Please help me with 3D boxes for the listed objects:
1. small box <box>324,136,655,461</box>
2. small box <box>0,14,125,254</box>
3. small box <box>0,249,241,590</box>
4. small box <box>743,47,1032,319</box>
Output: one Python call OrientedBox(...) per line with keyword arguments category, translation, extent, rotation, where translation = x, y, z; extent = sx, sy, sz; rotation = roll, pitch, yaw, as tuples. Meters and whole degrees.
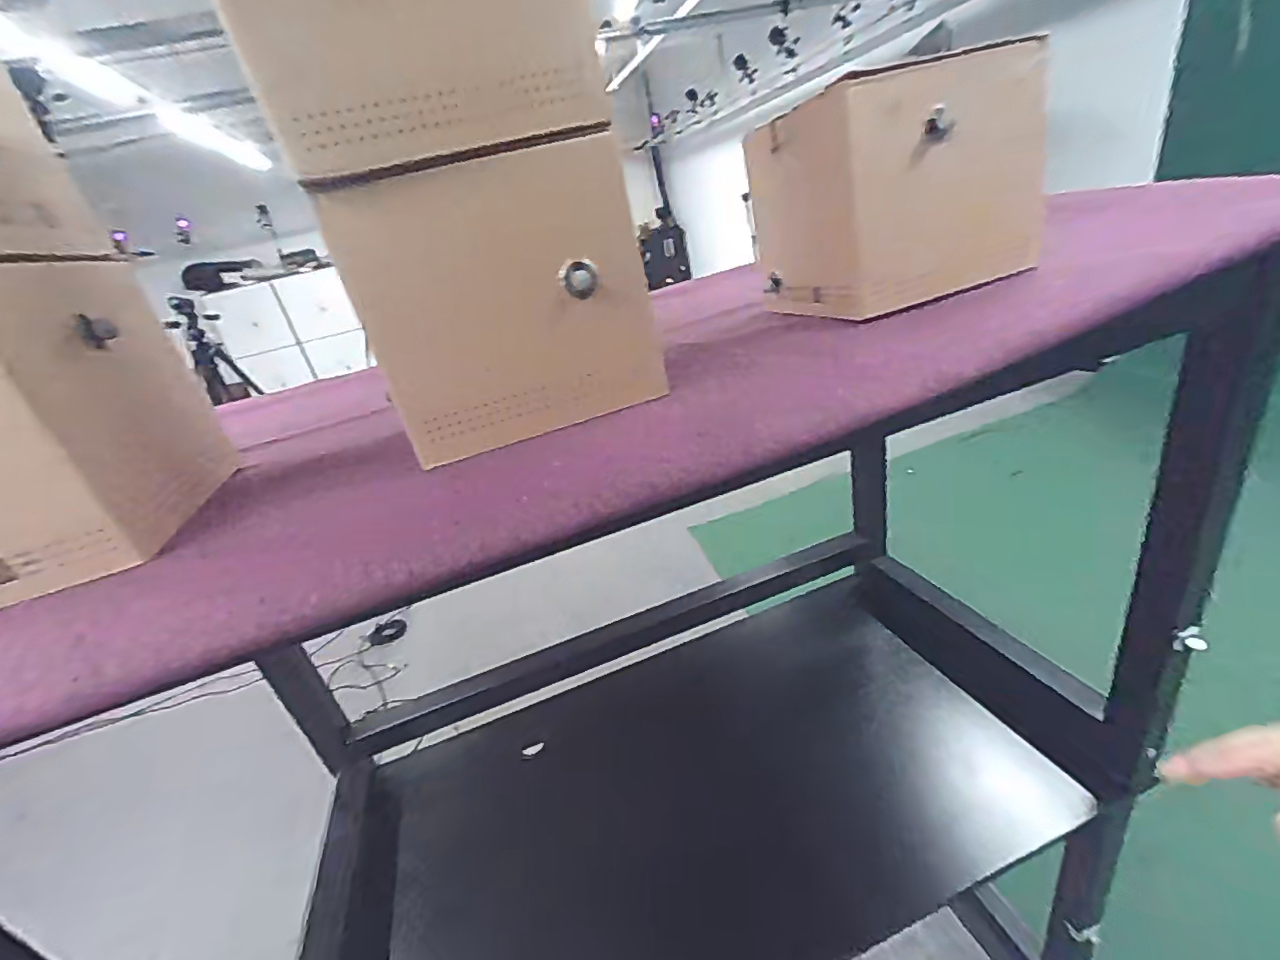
OrientedBox(category="small box", translation=(-0.098, -0.135, 0.410), extent=(0.179, 0.176, 0.168), rotation=(-20, 25, -12))
OrientedBox(category="small box", translation=(-0.431, -0.179, 0.266), extent=(0.179, 0.176, 0.168), rotation=(-19, 27, -15))
OrientedBox(category="small box", translation=(-0.395, -0.037, 0.338), extent=(0.168, 0.176, 0.179), rotation=(-17, 25, -13))
OrientedBox(category="small box", translation=(0.218, -0.253, 0.499), extent=(0.179, 0.176, 0.168), rotation=(-18, 23, -10))
